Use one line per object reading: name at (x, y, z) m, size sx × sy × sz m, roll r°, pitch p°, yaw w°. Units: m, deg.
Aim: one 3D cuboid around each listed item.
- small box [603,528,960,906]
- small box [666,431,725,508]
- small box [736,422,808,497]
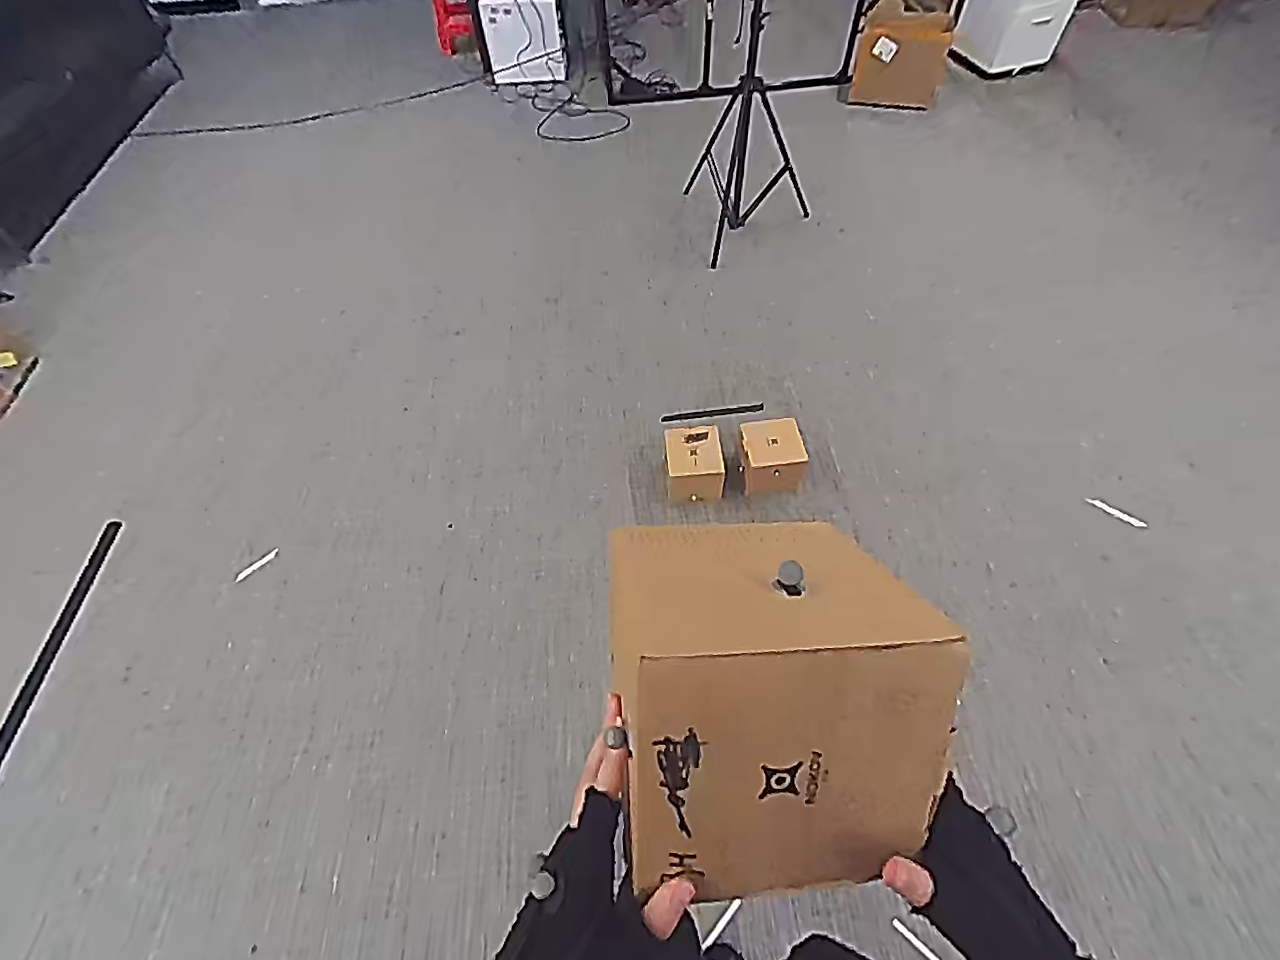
small box at (0.070, 0.137, 0.370) m, size 0.179 × 0.168 × 0.176 m, roll -1°, pitch 16°, yaw -8°
small box at (0.167, -0.031, 1.686) m, size 0.168 × 0.176 × 0.179 m, roll -5°, pitch 57°, yaw 1°
small box at (0.404, -0.058, 1.692) m, size 0.179 × 0.176 × 0.168 m, roll -7°, pitch 58°, yaw -2°
